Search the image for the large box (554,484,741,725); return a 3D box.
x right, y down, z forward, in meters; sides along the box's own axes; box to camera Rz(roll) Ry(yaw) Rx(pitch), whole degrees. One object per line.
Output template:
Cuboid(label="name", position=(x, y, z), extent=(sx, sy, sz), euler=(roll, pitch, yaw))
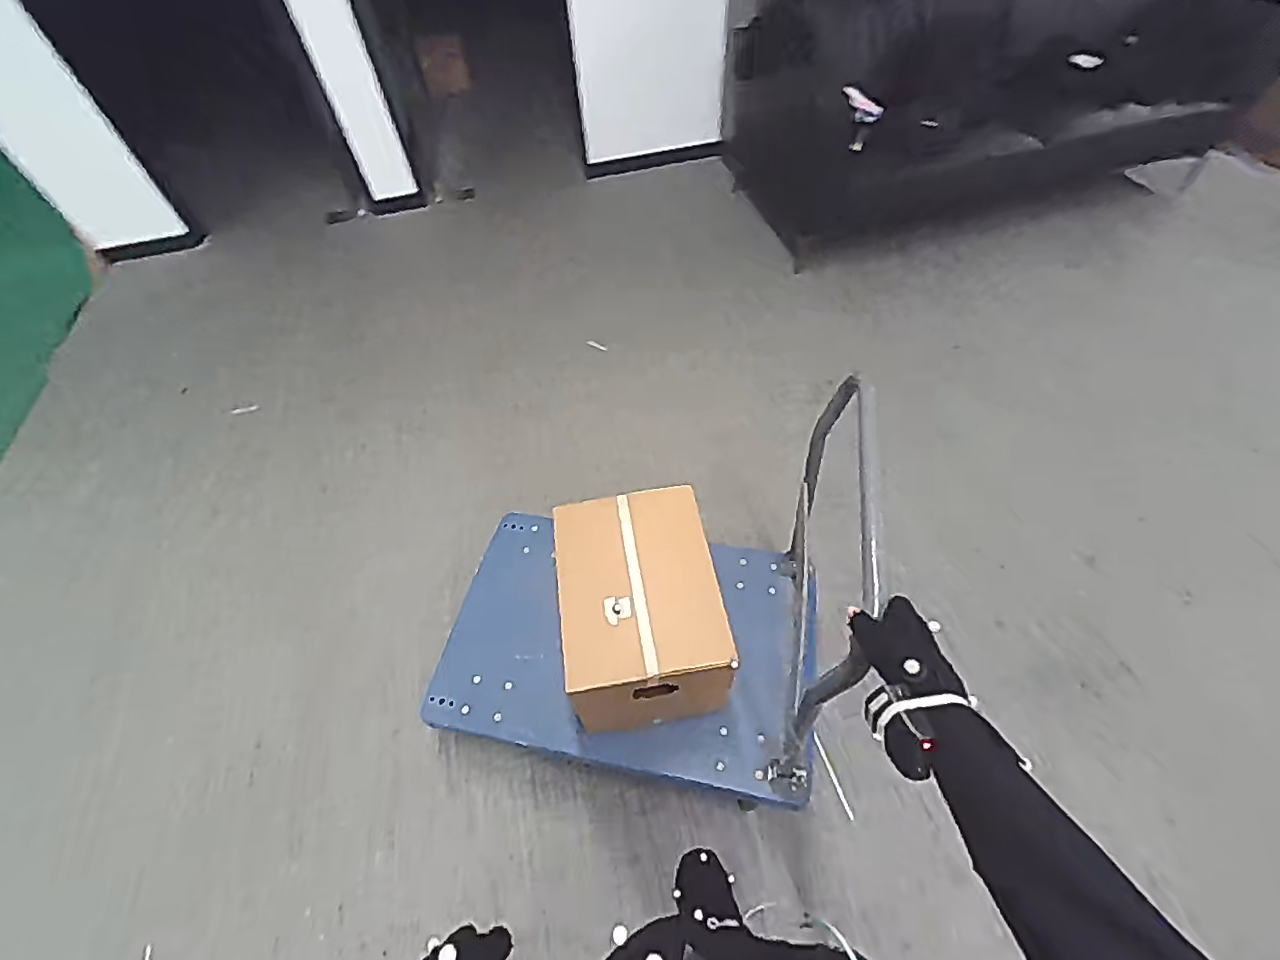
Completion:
Cuboid(label="large box", position=(0.005, 0.275, 1.195), extent=(0.320, 0.320, 0.408), euler=(-10, 54, -2))
